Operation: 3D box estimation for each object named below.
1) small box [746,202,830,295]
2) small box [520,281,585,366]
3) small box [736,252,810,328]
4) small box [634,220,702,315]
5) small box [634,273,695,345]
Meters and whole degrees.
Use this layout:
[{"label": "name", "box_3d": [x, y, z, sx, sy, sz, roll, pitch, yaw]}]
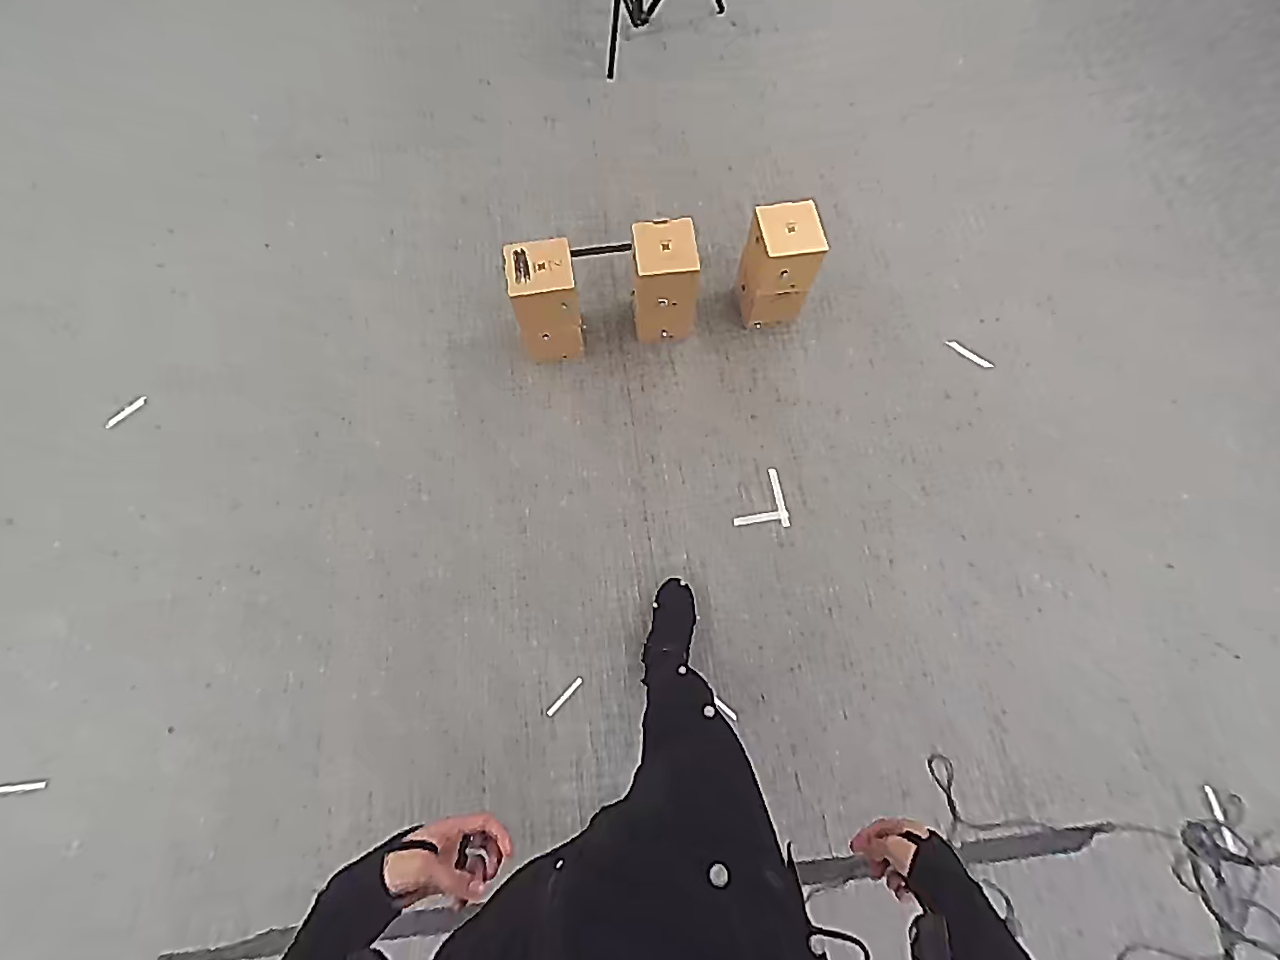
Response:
[{"label": "small box", "box_3d": [0.409, -0.641, 1.520, 0.168, 0.176, 0.179, -9, 71, -3]}, {"label": "small box", "box_3d": [-0.261, -0.469, 1.633, 0.168, 0.176, 0.179, -8, 71, -2]}, {"label": "small box", "box_3d": [0.405, -0.588, 1.673, 0.168, 0.176, 0.179, -9, 71, -3]}, {"label": "small box", "box_3d": [0.071, -0.586, 1.498, 0.168, 0.176, 0.179, -6, 71, -2]}, {"label": "small box", "box_3d": [0.069, -0.539, 1.655, 0.168, 0.176, 0.179, -6, 72, -2]}]
